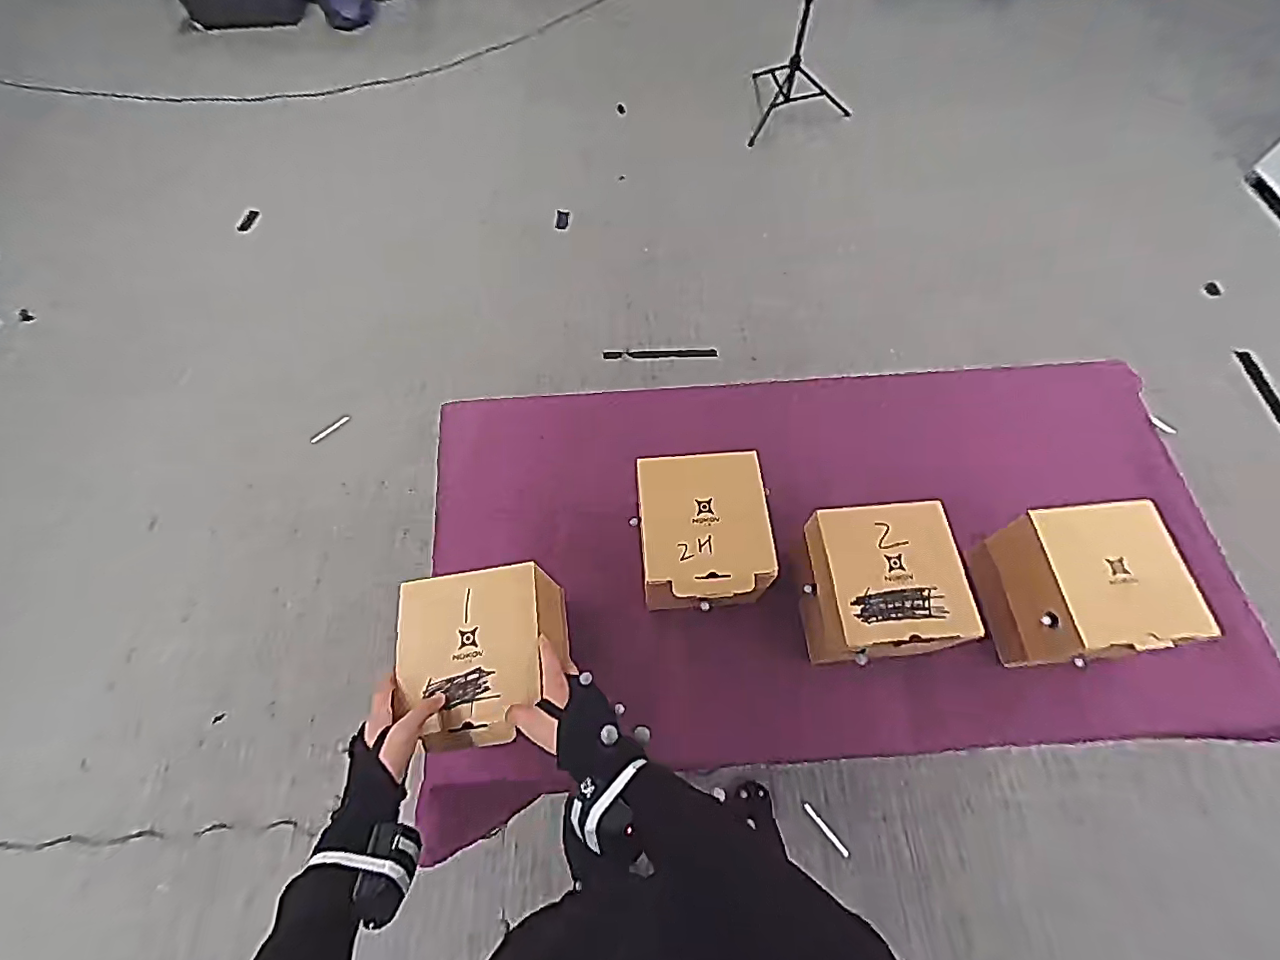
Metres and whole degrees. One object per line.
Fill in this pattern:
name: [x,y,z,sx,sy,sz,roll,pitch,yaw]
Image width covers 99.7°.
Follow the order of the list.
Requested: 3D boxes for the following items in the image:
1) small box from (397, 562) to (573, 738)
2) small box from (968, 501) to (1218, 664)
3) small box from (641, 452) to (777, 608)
small box: [-0.185,0.219,0.685,0.168,0.176,0.179,-9,65,1]
small box: [0.590,0.145,0.738,0.168,0.176,0.179,-5,65,-1]
small box: [0.087,0.077,0.777,0.168,0.176,0.179,-4,66,0]
